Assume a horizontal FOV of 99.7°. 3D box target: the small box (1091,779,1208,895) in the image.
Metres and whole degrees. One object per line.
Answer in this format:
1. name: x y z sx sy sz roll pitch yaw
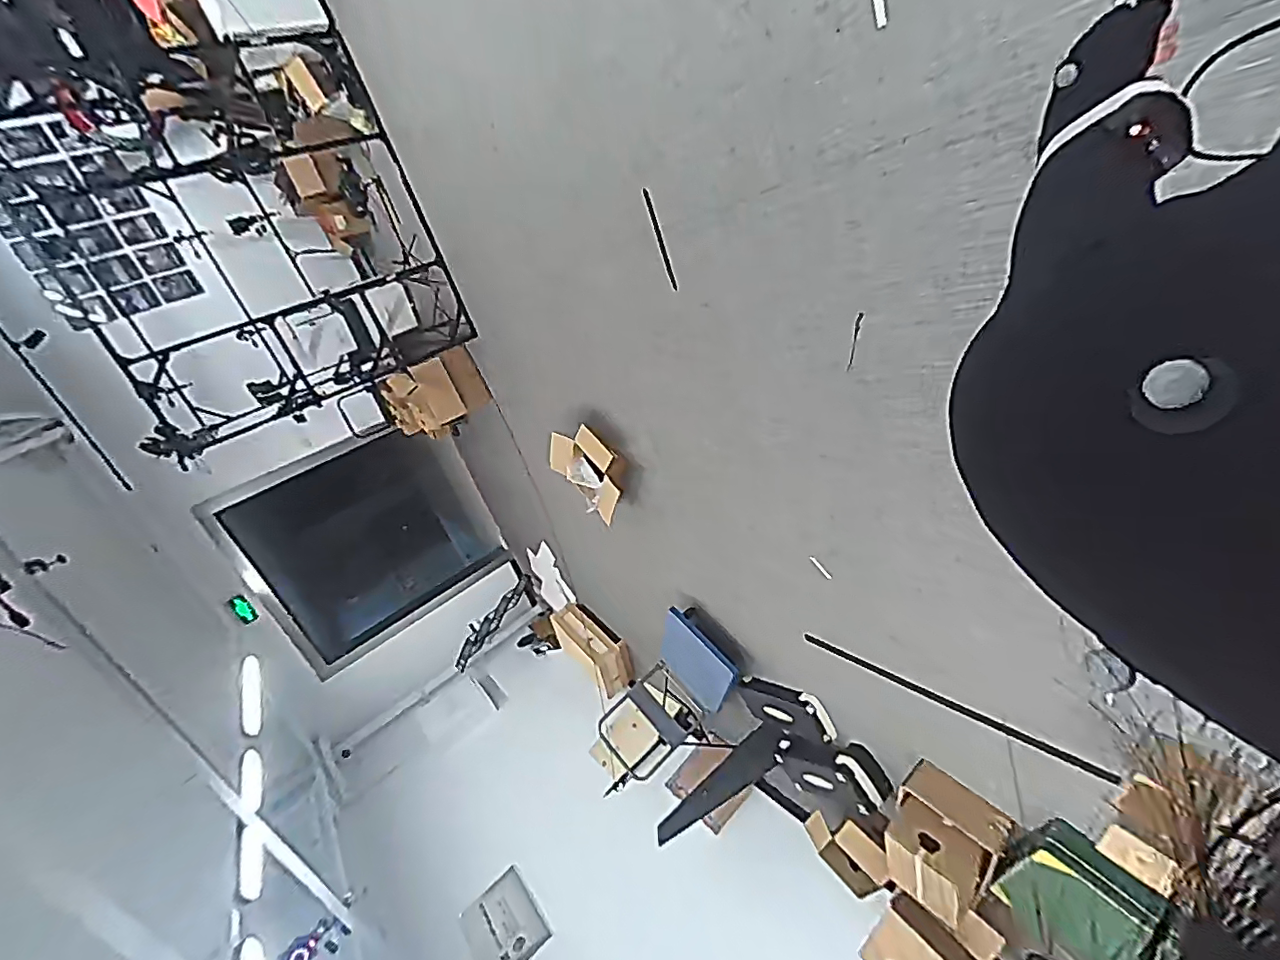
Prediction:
1. small box: 1.405 0.977 1.492 0.179 0.176 0.168 31 143 44

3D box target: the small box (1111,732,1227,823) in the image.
1. small box: 1.520 0.873 1.555 0.179 0.176 0.168 33 146 43
